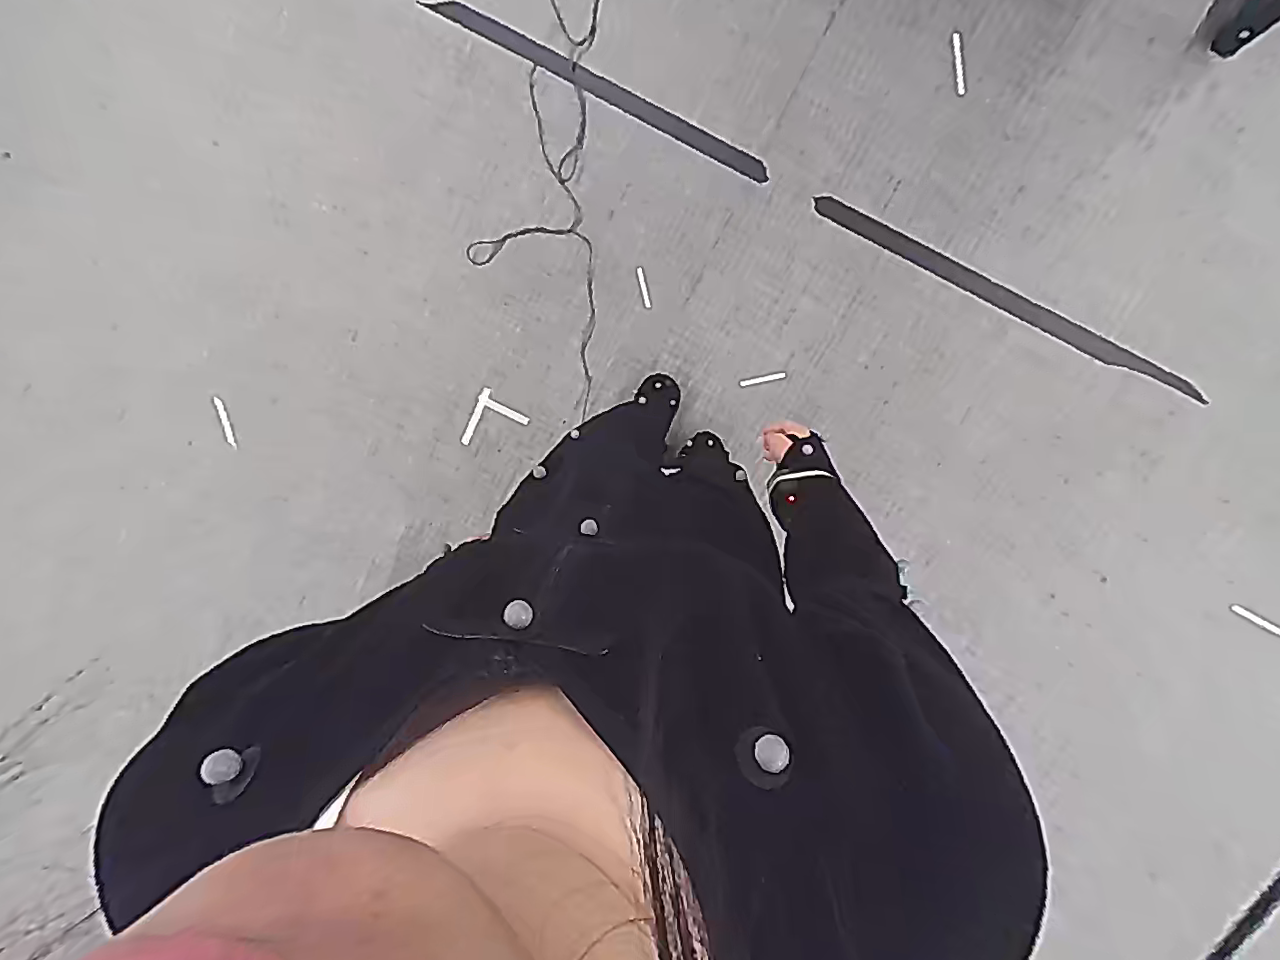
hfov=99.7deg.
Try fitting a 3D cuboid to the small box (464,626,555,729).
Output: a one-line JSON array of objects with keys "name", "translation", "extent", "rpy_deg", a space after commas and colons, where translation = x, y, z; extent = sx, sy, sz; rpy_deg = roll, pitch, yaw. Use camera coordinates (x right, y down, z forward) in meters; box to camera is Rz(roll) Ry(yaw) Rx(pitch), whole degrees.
[{"name": "small box", "translation": [-0.344, 0.526, 1.461], "extent": [0.168, 0.176, 0.179], "rpy_deg": [20, 97, 4]}]
